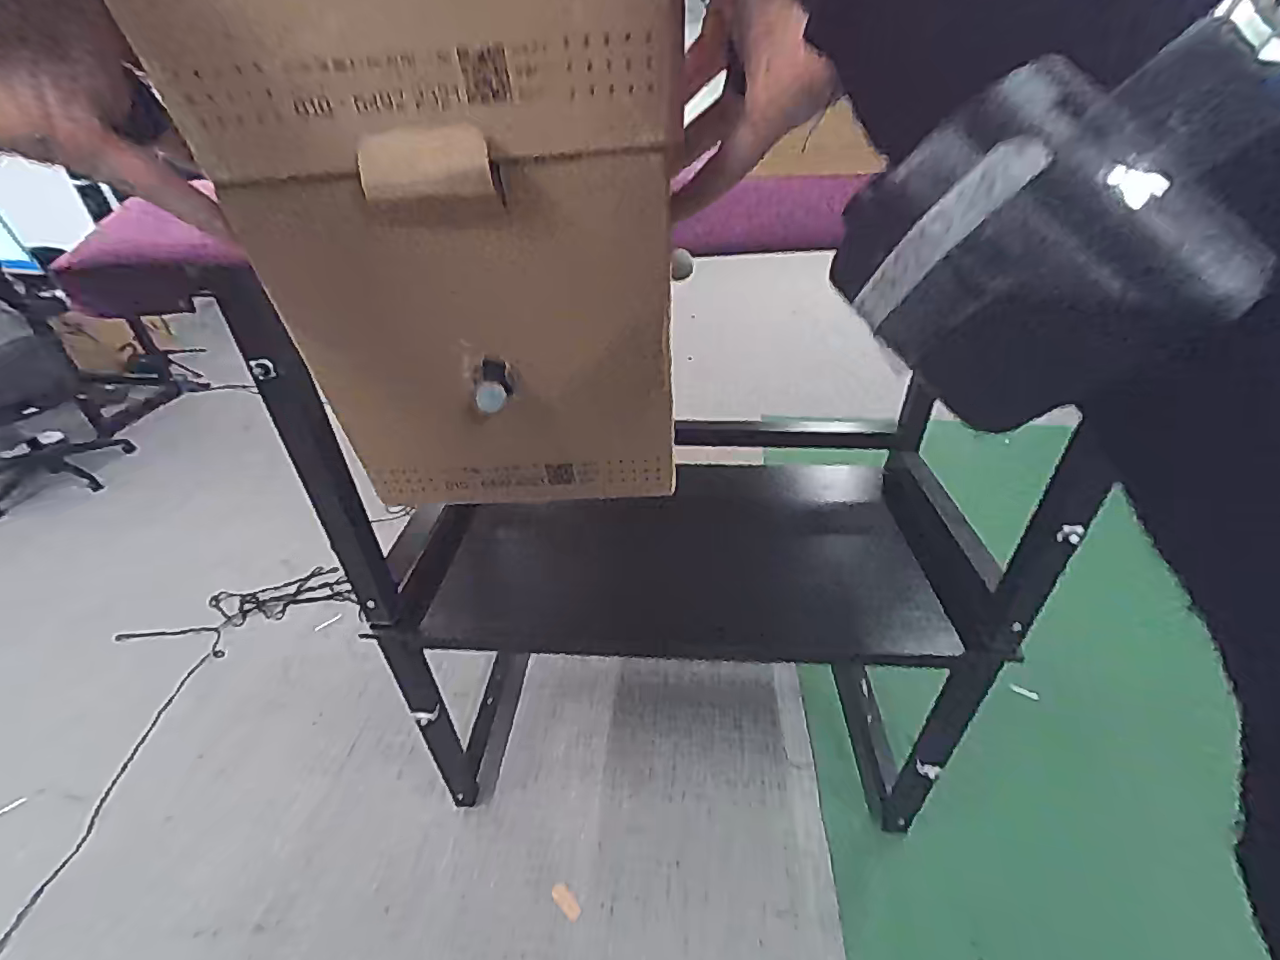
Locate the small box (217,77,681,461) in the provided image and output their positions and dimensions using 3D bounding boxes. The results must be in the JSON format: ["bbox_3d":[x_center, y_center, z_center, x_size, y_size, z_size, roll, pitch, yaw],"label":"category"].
[{"bbox_3d":[-0.063,-0.122,0.300,0.168,0.176,0.179,-2,44,2],"label":"small box"}]

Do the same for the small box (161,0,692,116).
[{"bbox_3d":[-0.072,-0.237,0.184,0.168,0.176,0.179,-4,44,1],"label":"small box"}]

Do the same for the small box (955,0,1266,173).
[{"bbox_3d":[0.473,-0.433,0.571,0.179,0.176,0.168,0,35,5],"label":"small box"}]
